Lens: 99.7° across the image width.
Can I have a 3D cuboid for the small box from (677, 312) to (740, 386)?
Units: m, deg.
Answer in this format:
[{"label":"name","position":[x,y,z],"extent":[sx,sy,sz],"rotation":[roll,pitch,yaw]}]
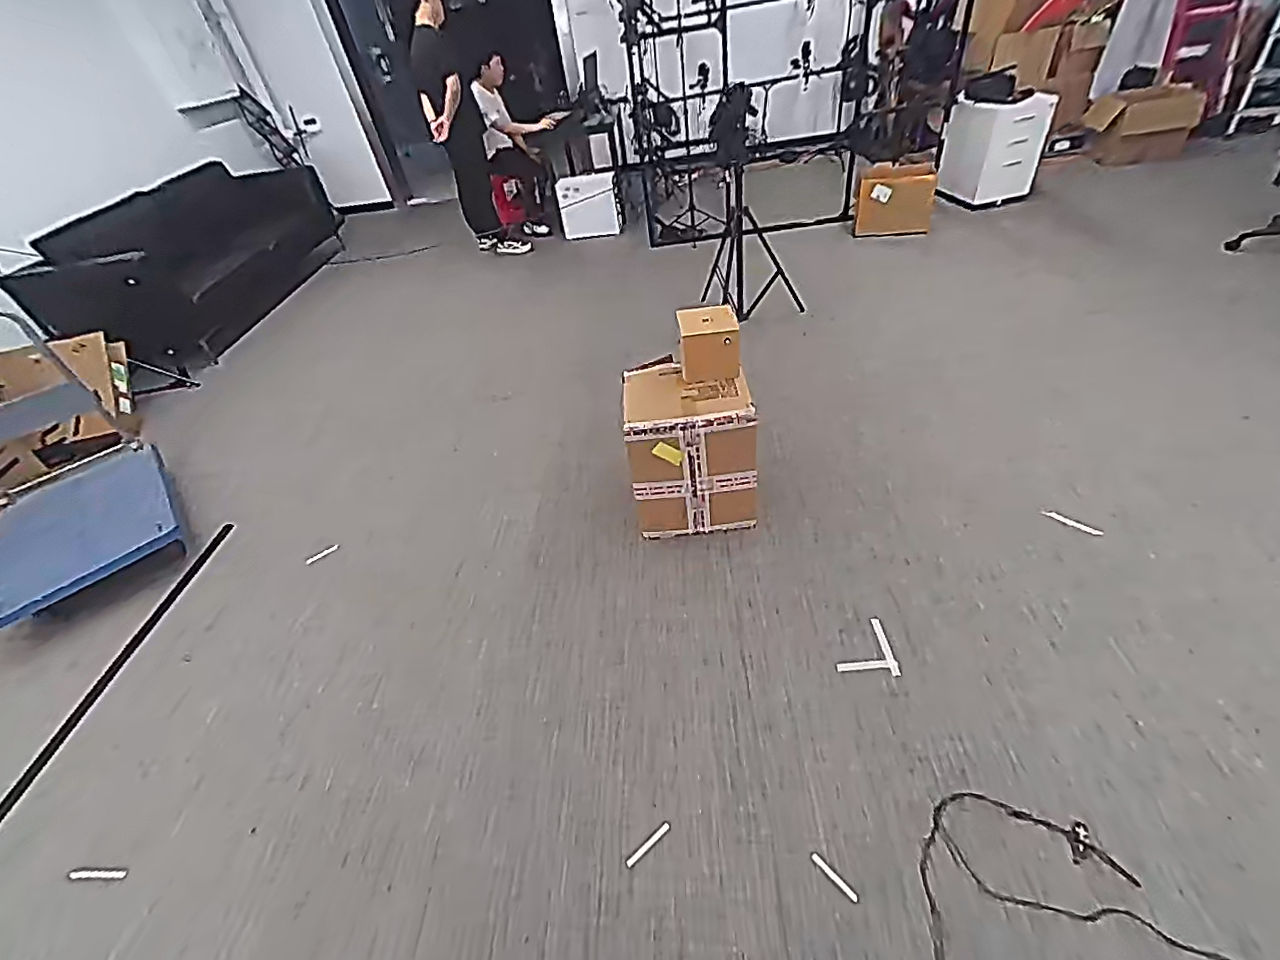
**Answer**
[{"label":"small box","position":[0.216,-0.409,1.705],"extent":[0.179,0.176,0.168],"rotation":[-6,43,1]}]
